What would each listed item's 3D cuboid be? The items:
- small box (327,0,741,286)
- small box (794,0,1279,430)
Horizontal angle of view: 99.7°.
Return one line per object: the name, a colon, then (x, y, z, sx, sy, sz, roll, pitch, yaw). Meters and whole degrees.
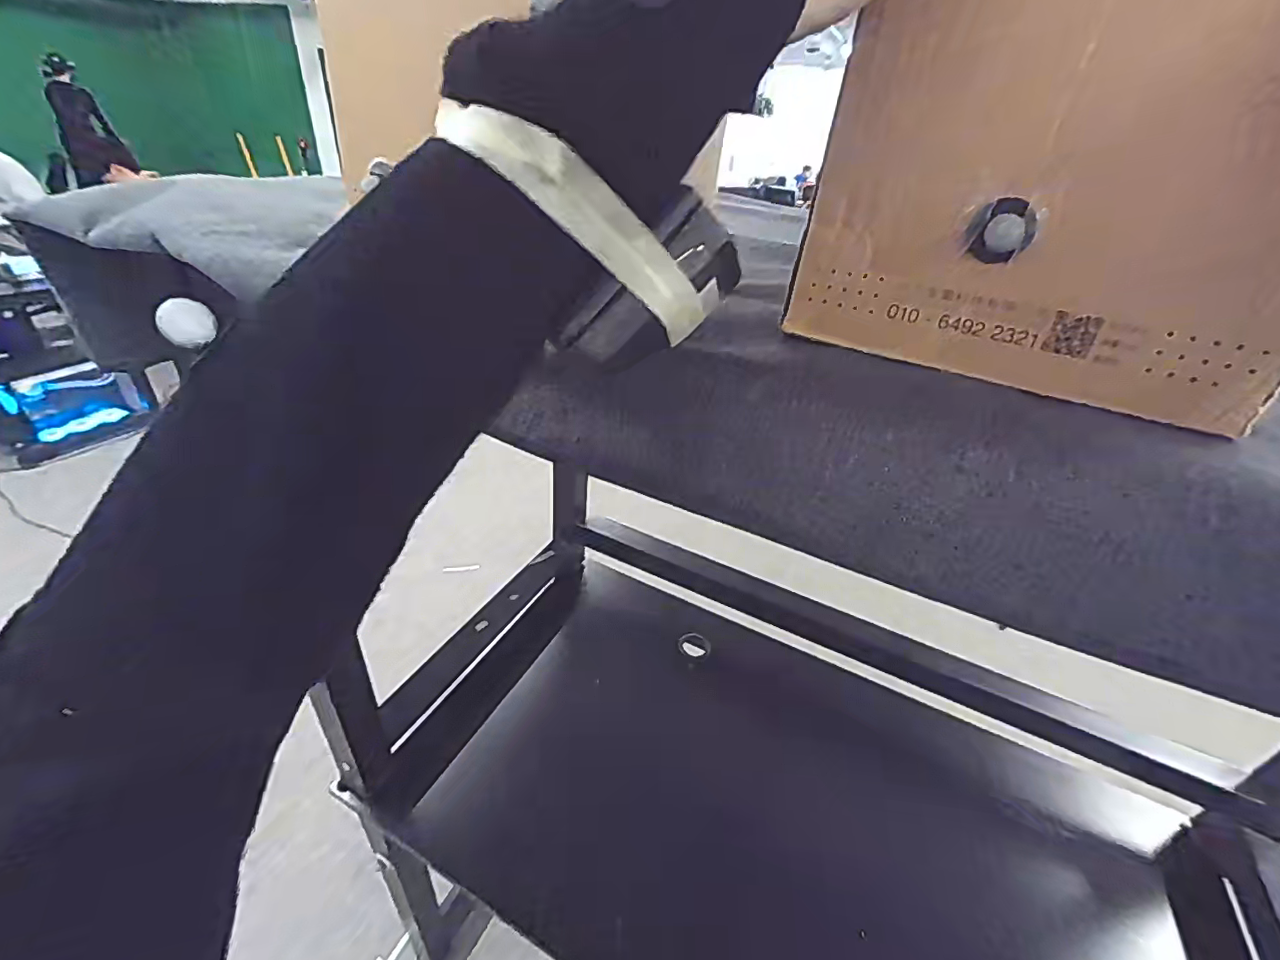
small box: (-0.050, -0.222, 0.319, 0.168, 0.176, 0.179, 19, 33, 17)
small box: (0.182, -0.144, 0.242, 0.168, 0.176, 0.179, 19, 34, 19)
